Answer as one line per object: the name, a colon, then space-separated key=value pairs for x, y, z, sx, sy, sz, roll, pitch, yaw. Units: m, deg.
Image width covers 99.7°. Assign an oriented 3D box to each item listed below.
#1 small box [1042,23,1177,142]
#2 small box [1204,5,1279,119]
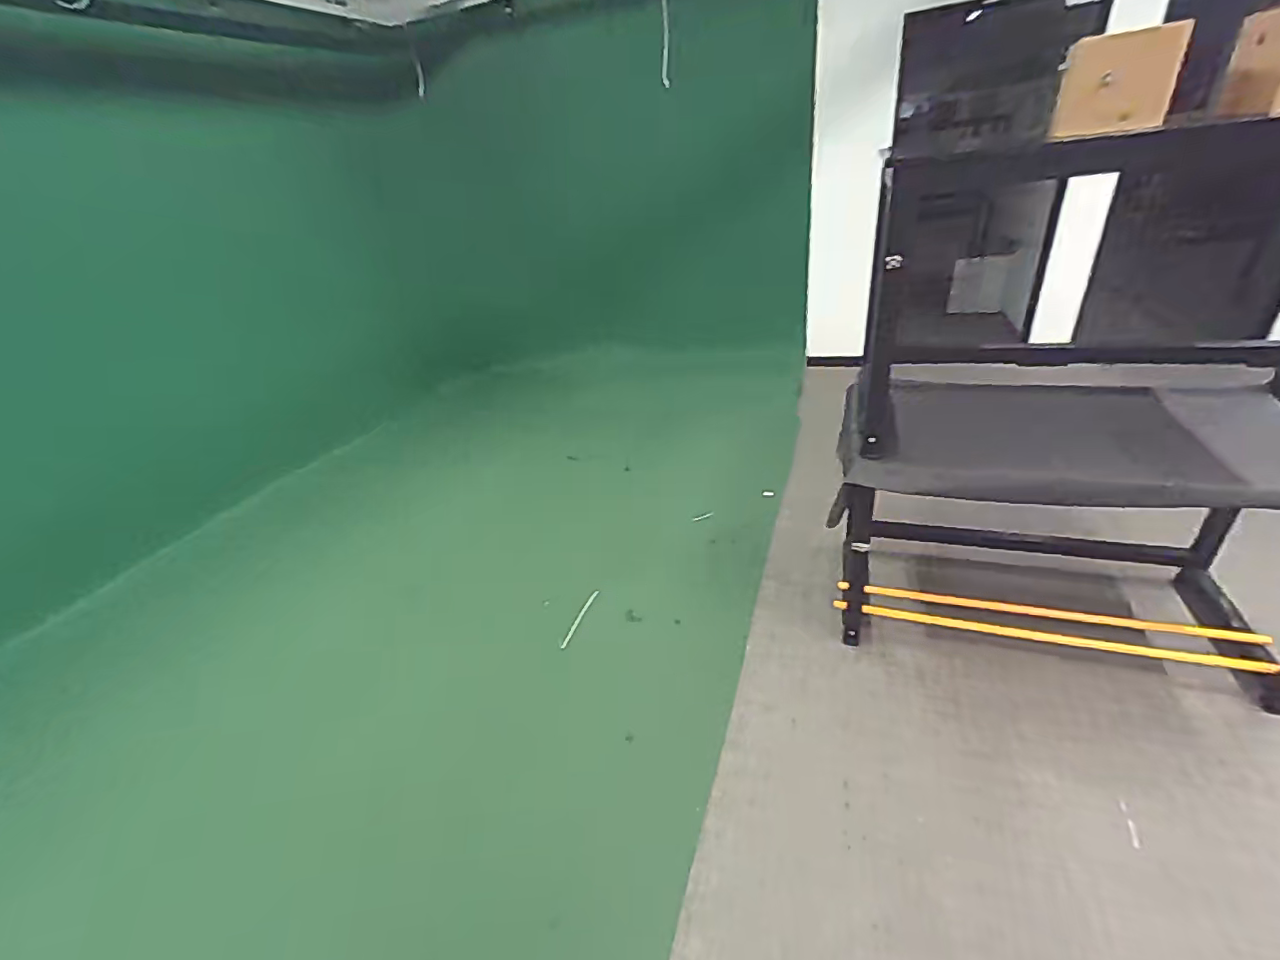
small box: x=0.962 y=-0.816 z=1.127 sx=0.168 sy=0.176 sz=0.179 roll=9 pitch=34 yaw=26
small box: x=1.232 y=-0.789 z=1.013 sx=0.168 sy=0.176 sz=0.179 roll=1 pitch=31 yaw=16
